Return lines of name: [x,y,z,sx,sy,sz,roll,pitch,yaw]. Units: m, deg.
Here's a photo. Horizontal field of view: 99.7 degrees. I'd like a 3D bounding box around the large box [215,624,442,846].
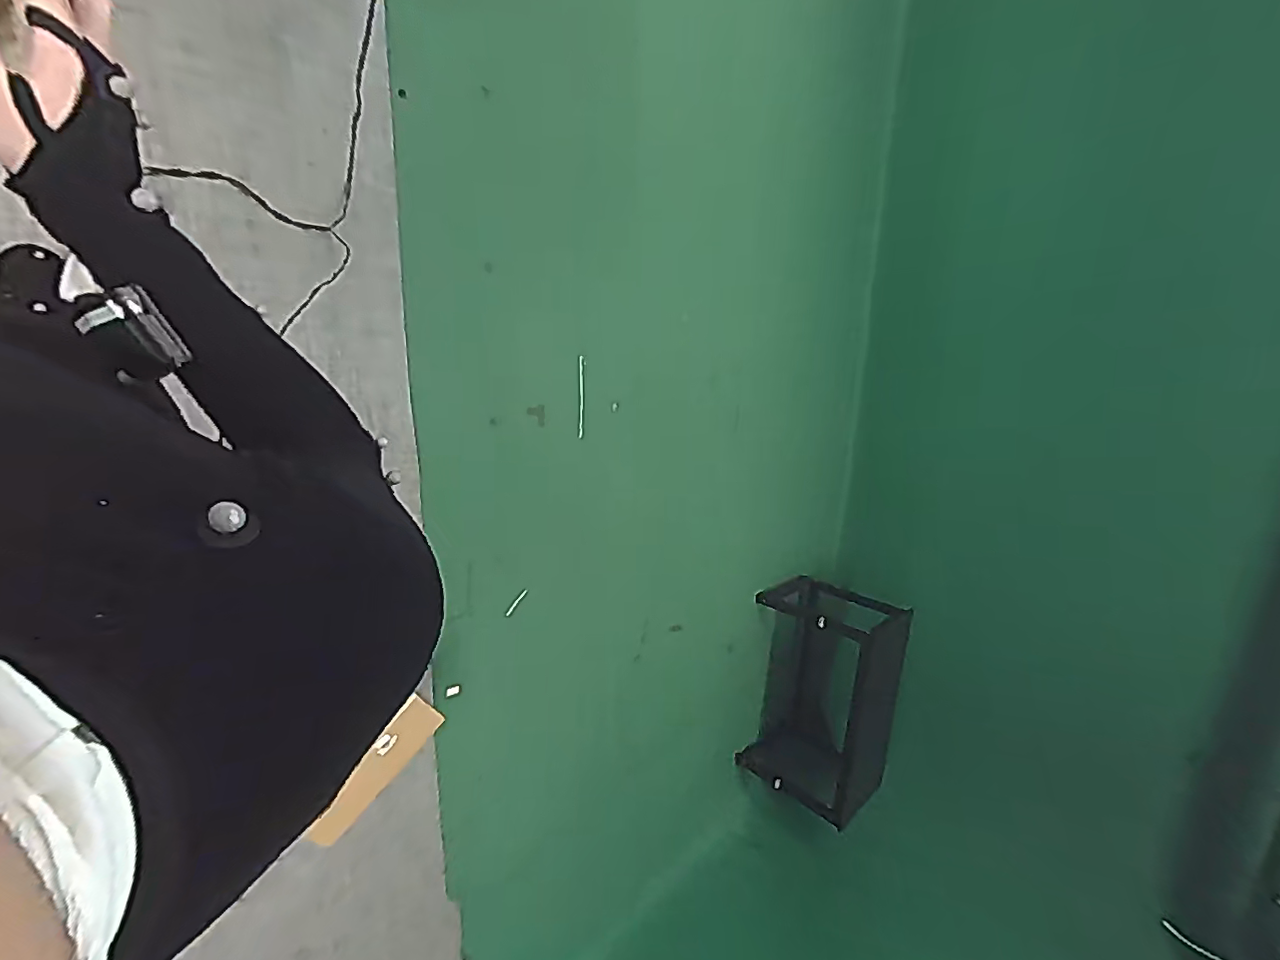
large box: [-0.855,0.690,1.506,0.408,0.320,0.320,-48,132,-27]
